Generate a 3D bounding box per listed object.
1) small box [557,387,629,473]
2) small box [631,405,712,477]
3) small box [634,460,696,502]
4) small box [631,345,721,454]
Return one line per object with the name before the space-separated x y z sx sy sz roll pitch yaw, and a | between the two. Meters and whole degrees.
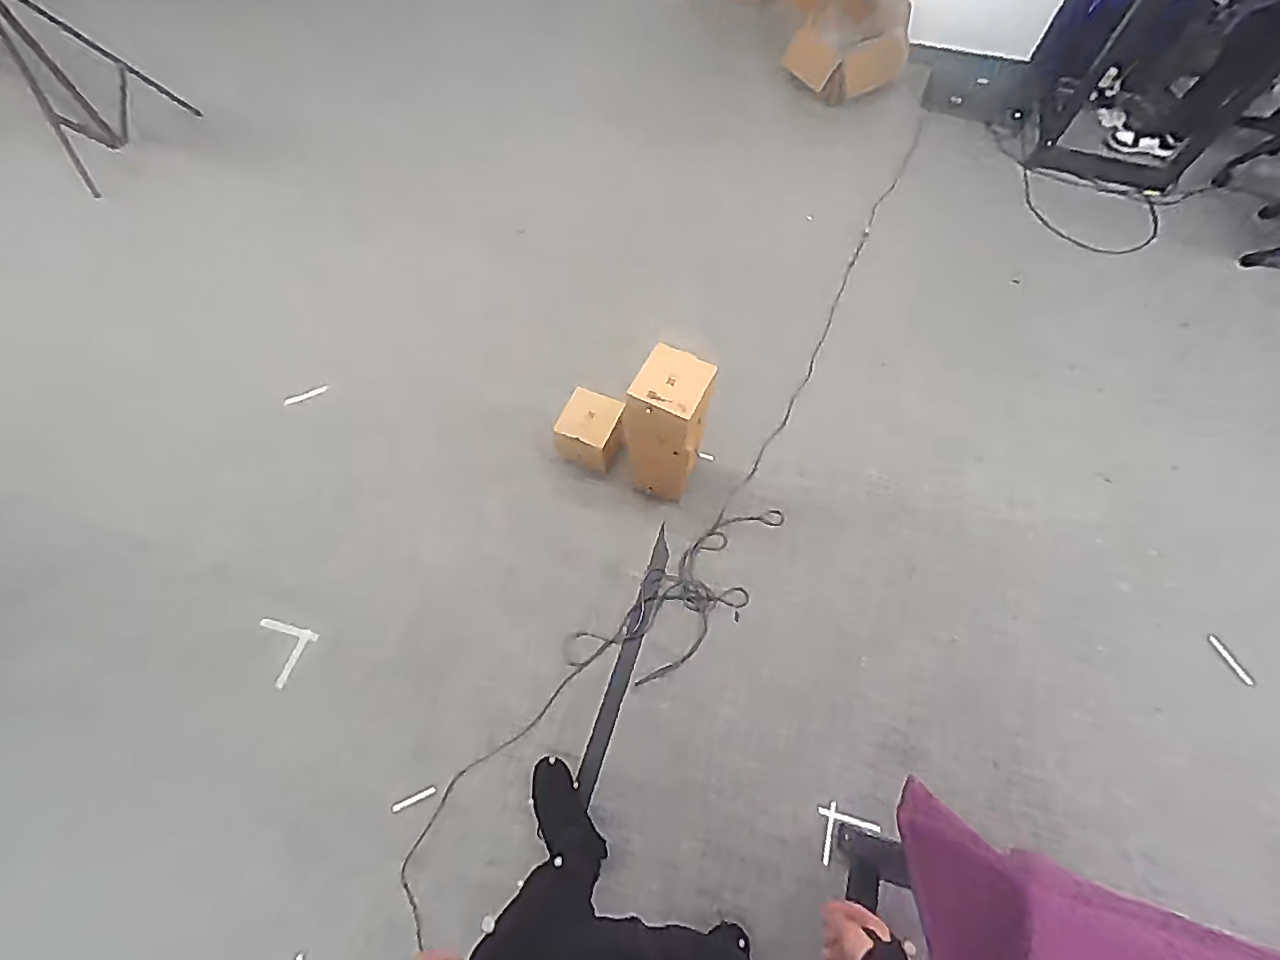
small box | -0.144 -0.153 1.692 0.168 0.176 0.179 22 66 10
small box | 0.084 -0.128 1.508 0.179 0.176 0.168 19 65 8
small box | 0.082 -0.059 1.655 0.168 0.176 0.179 17 66 8
small box | 0.084 -0.199 1.360 0.168 0.176 0.179 26 66 11
